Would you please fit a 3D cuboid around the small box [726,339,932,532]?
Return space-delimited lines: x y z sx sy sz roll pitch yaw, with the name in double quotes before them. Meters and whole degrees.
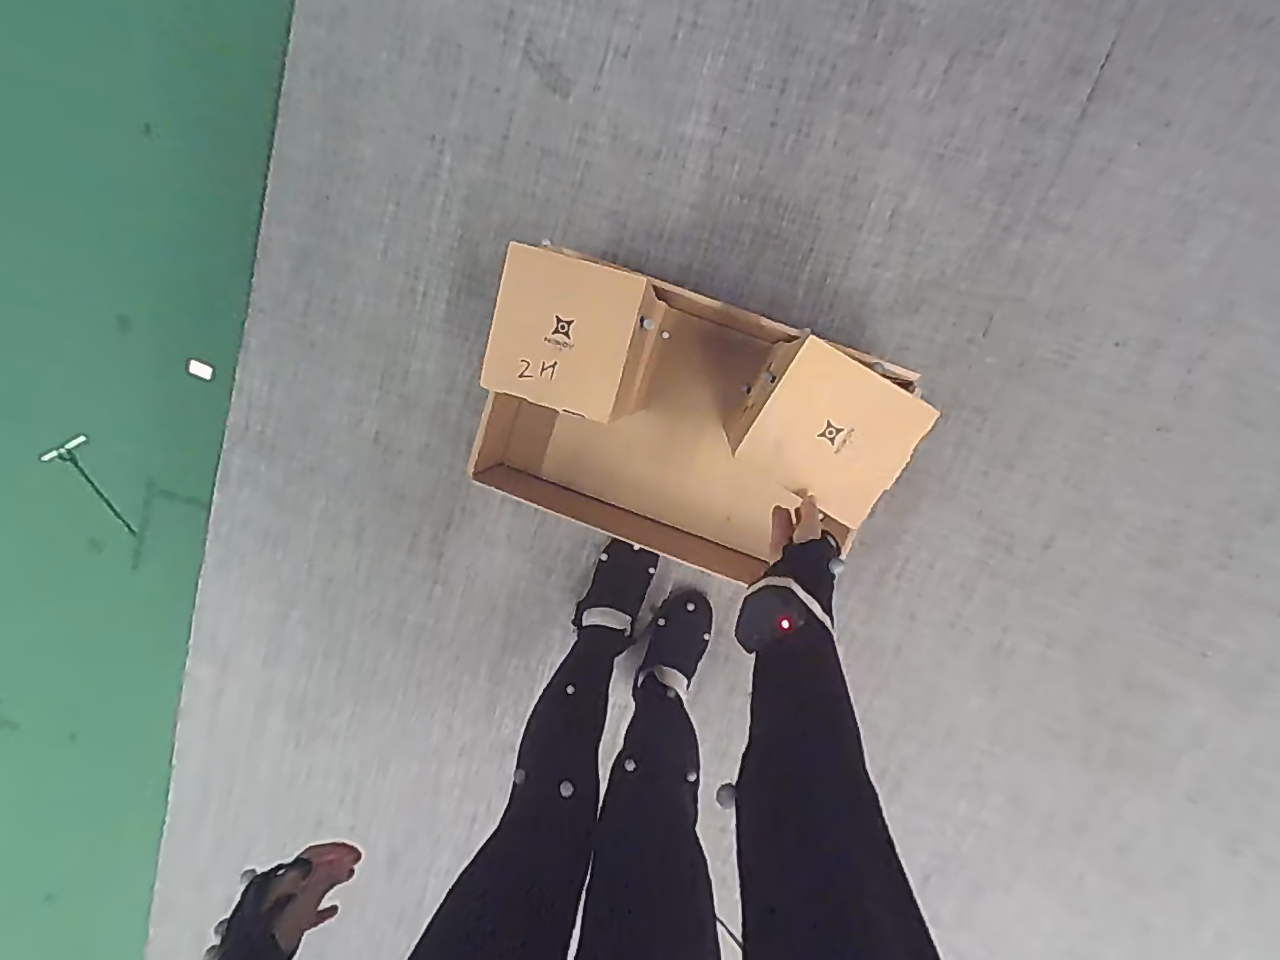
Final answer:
"small box" 0.225 -0.061 0.702 0.179 0.176 0.168 31 103 0

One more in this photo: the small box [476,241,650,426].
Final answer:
"small box" -0.089 -0.184 0.711 0.168 0.176 0.179 18 102 4
